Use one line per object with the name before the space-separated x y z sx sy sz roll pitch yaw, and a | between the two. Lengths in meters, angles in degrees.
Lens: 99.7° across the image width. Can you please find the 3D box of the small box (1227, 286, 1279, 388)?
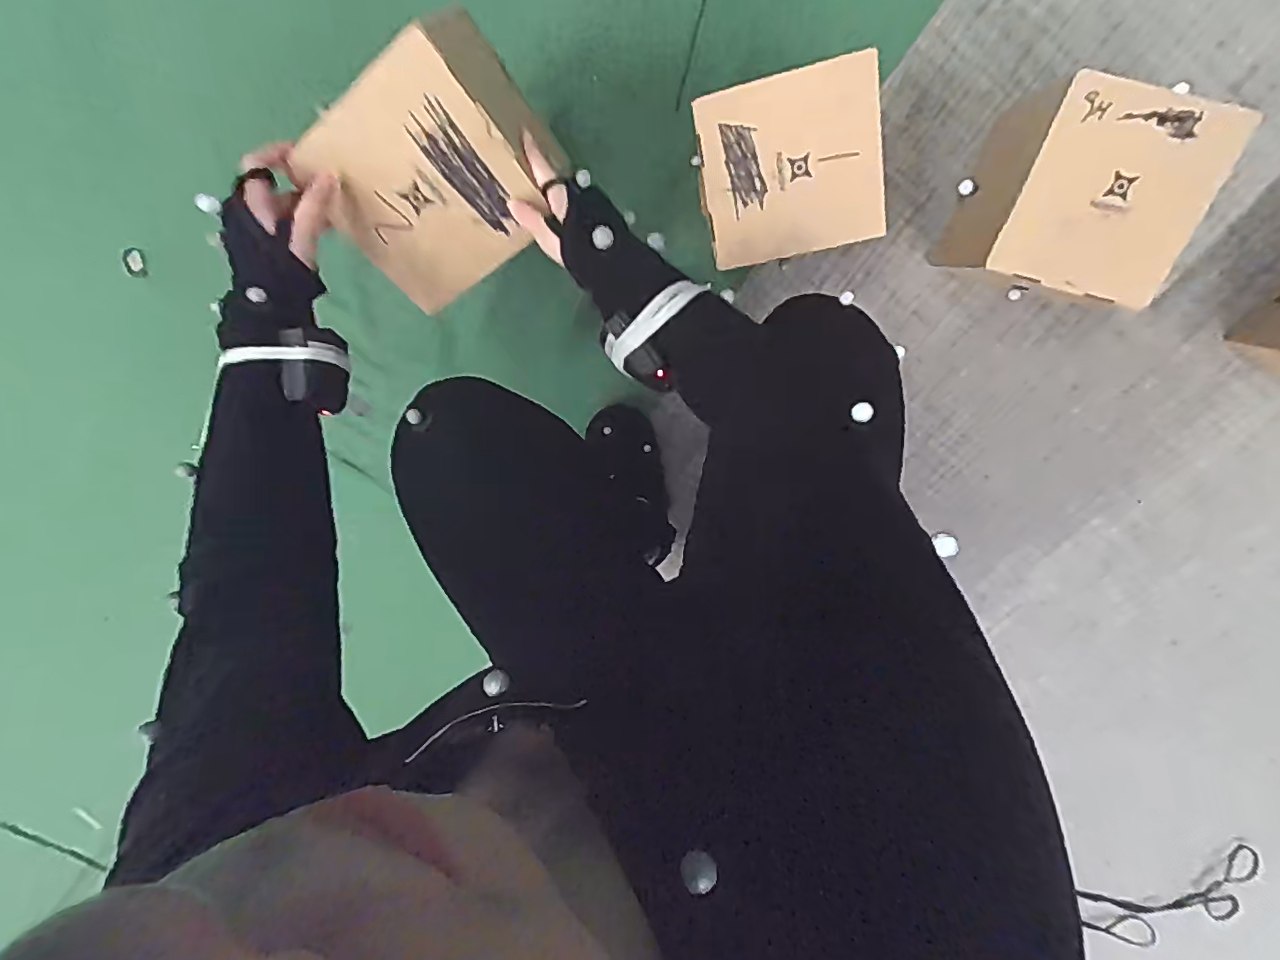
small box | 0.829 -0.159 0.580 0.179 0.176 0.168 32 113 -5

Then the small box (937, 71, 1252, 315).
small box | 0.456 -0.298 0.587 0.168 0.176 0.179 18 115 2

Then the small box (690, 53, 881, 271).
small box | 0.161 -0.341 0.620 0.179 0.176 0.168 -8 110 12
